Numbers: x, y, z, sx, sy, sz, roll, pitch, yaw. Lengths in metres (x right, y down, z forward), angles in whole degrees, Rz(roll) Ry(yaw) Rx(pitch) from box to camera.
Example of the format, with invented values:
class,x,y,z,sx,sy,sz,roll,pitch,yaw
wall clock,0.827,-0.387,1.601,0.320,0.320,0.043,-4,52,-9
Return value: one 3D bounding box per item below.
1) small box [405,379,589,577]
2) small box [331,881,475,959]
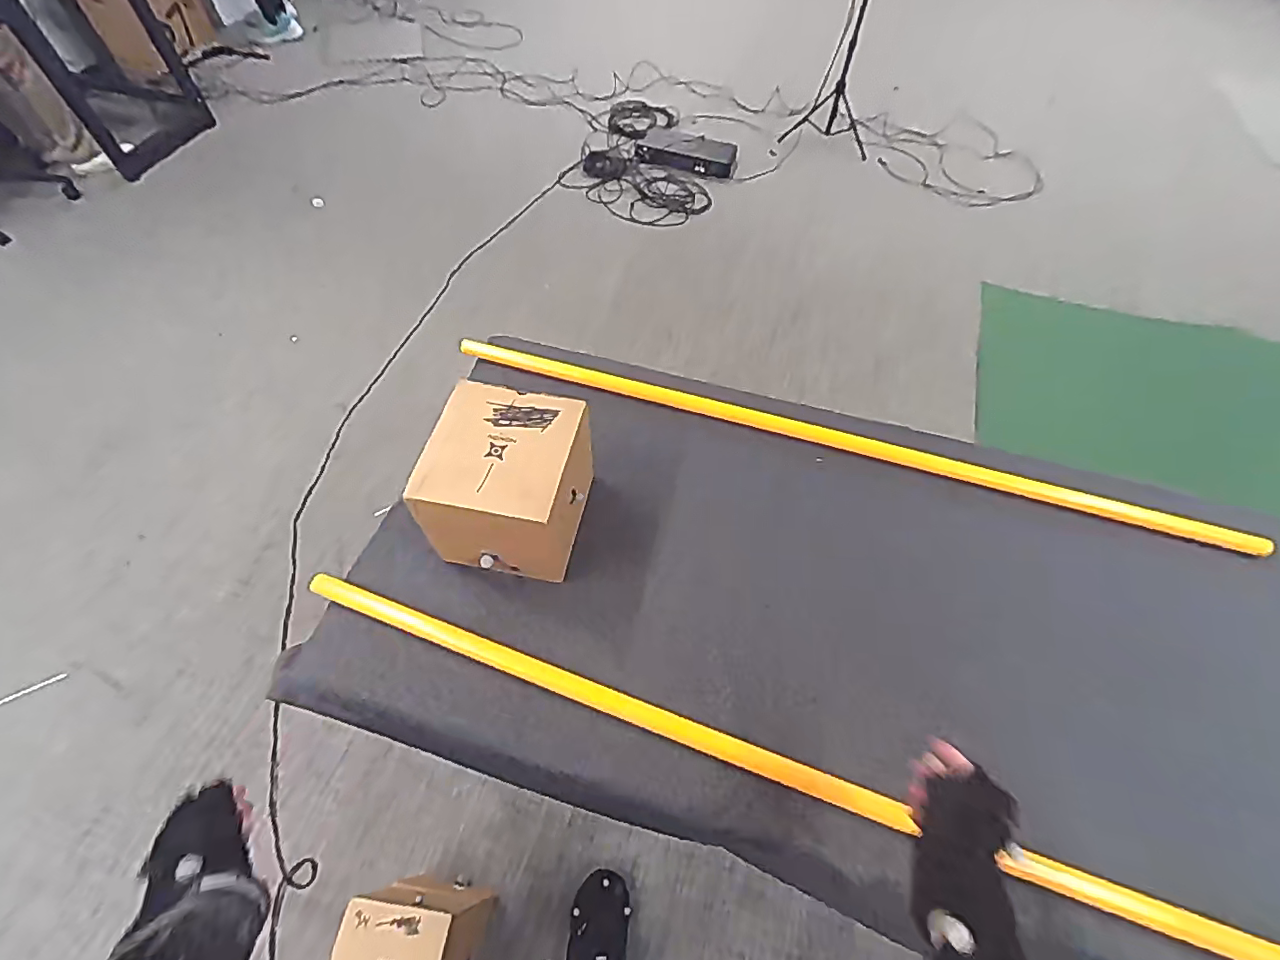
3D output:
class,x,y,z,sx,sy,sz,roll,pitch,yaw
small box,-0.164,0.001,0.691,0.168,0.176,0.179,9,58,5
small box,-0.380,0.768,0.869,0.168,0.176,0.179,5,57,3
